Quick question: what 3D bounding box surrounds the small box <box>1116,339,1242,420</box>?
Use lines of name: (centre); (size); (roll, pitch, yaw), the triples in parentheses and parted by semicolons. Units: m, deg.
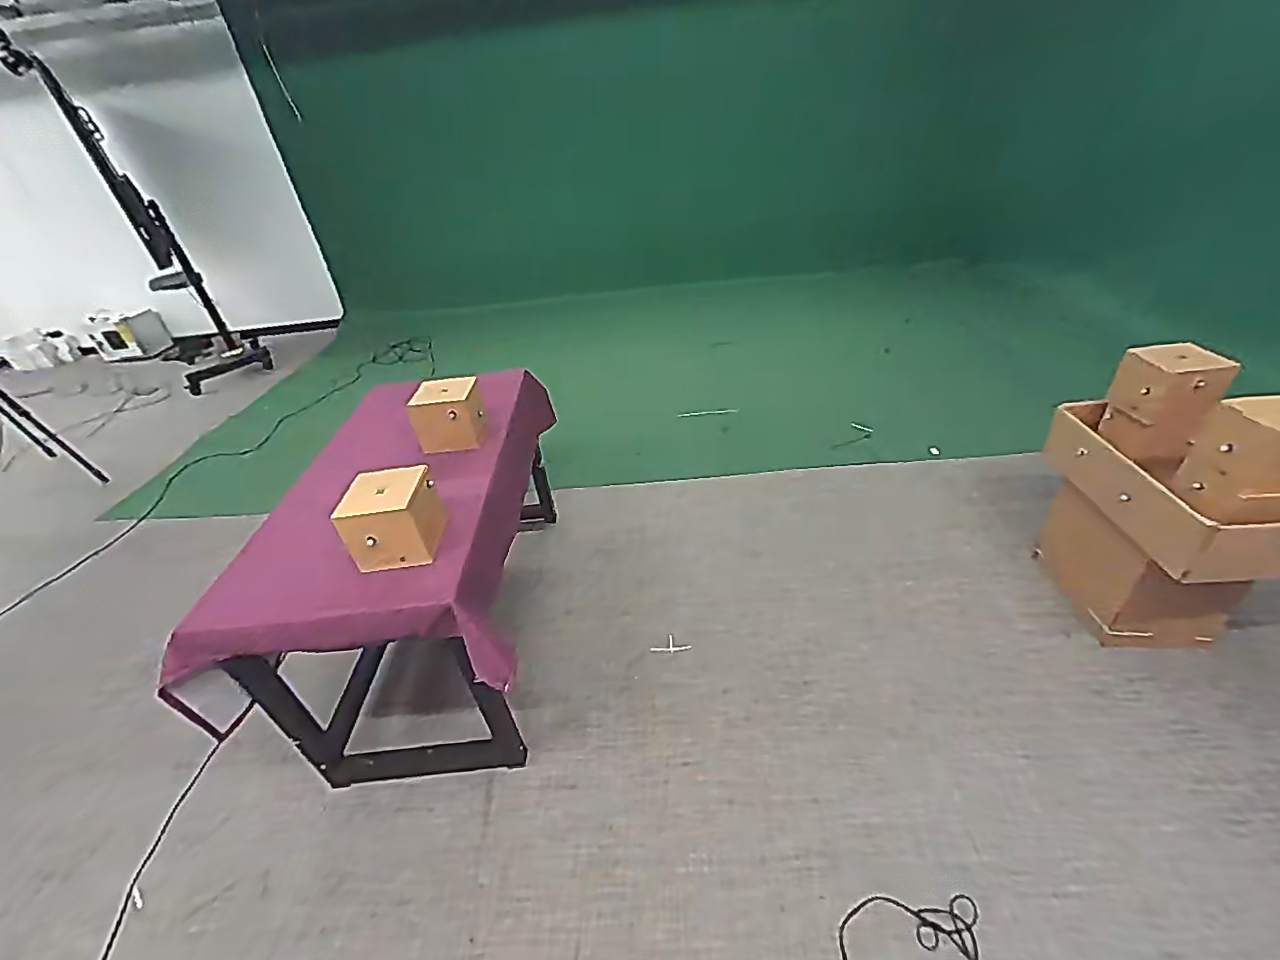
small box: (1.507, -0.281, 1.532); (0.179, 0.176, 0.168); (-6, 35, 3)

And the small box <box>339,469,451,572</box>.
small box: (-0.562, 0.100, 1.269); (0.168, 0.176, 0.179); (-8, 34, 1)

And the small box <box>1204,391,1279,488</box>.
small box: (1.491, -0.094, 1.265); (0.179, 0.176, 0.168); (-4, 36, 8)

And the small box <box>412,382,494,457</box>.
small box: (-0.571, -0.187, 1.683); (0.179, 0.176, 0.168); (-6, 34, 3)
